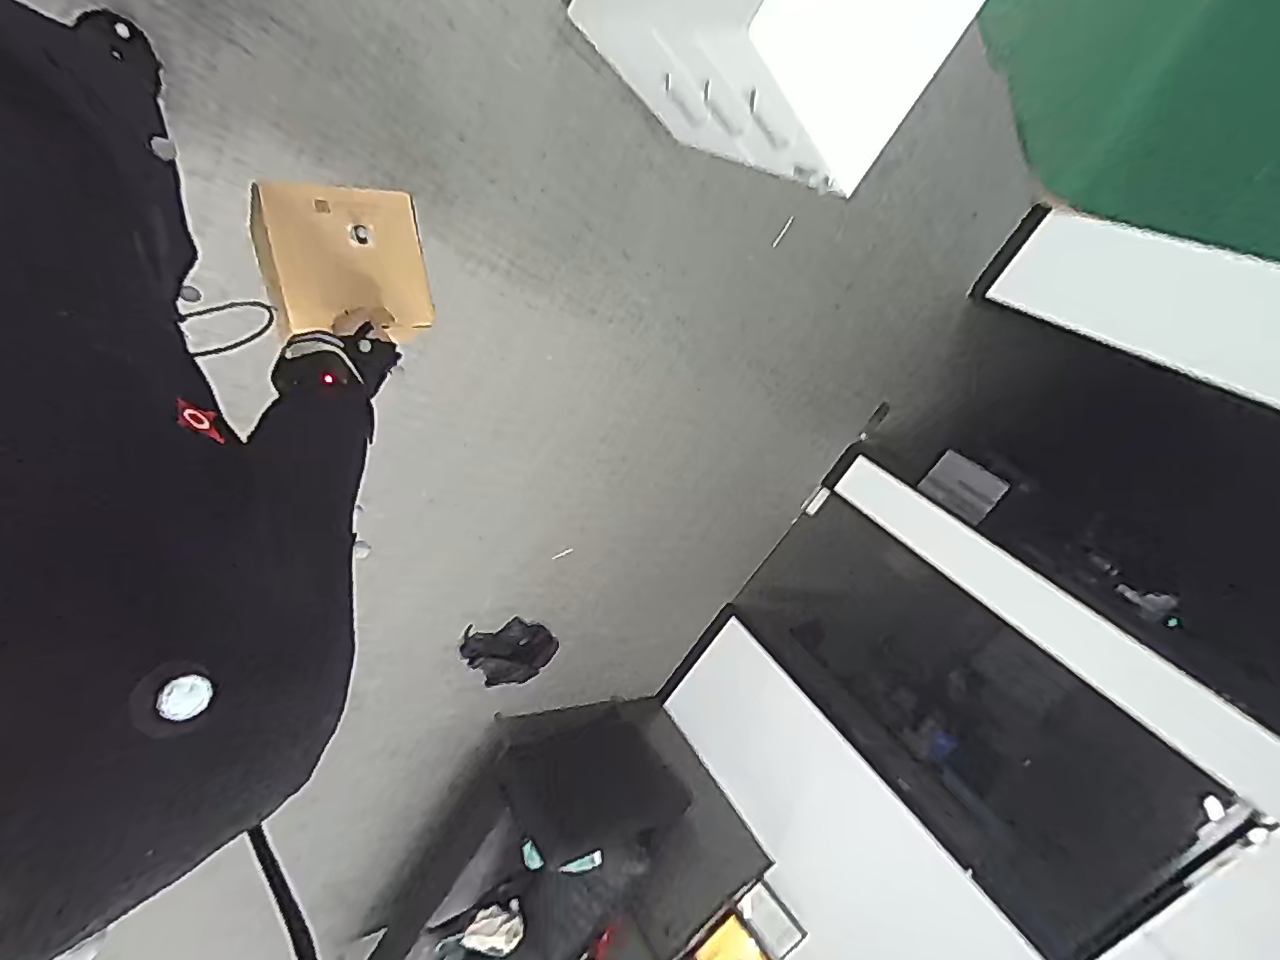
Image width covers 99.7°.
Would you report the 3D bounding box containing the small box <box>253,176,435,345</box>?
[{"bbox_3d":[-0.394,-0.278,0.718,0.168,0.179,0.176,-16,104,-35],"label":"small box"}]
